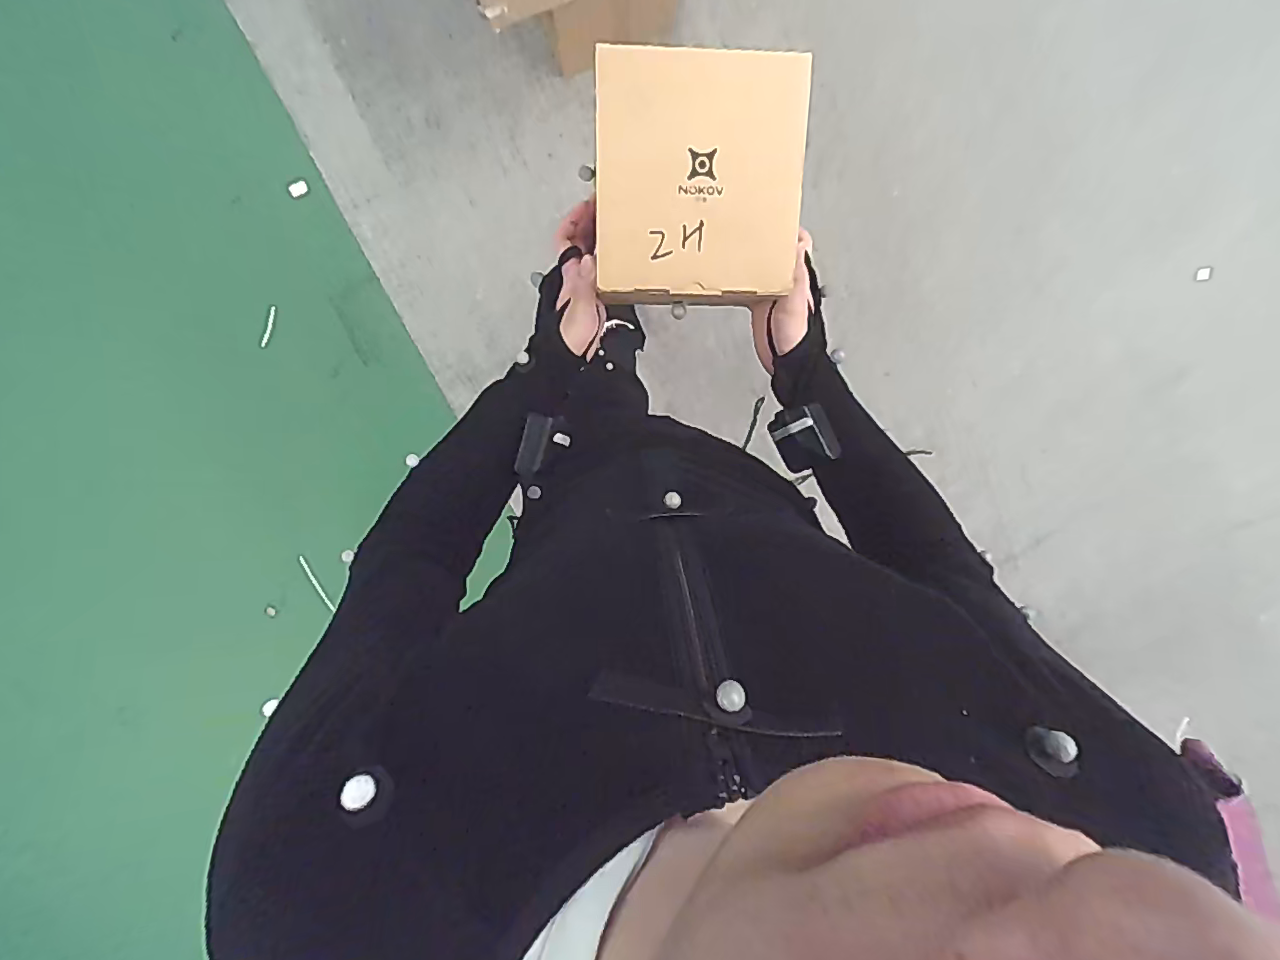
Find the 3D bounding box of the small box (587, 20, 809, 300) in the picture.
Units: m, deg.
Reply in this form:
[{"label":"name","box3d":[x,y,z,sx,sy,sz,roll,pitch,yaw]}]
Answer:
[{"label":"small box","box3d":[0.038,-0.264,0.489,0.168,0.176,0.179,1,105,-2]}]
